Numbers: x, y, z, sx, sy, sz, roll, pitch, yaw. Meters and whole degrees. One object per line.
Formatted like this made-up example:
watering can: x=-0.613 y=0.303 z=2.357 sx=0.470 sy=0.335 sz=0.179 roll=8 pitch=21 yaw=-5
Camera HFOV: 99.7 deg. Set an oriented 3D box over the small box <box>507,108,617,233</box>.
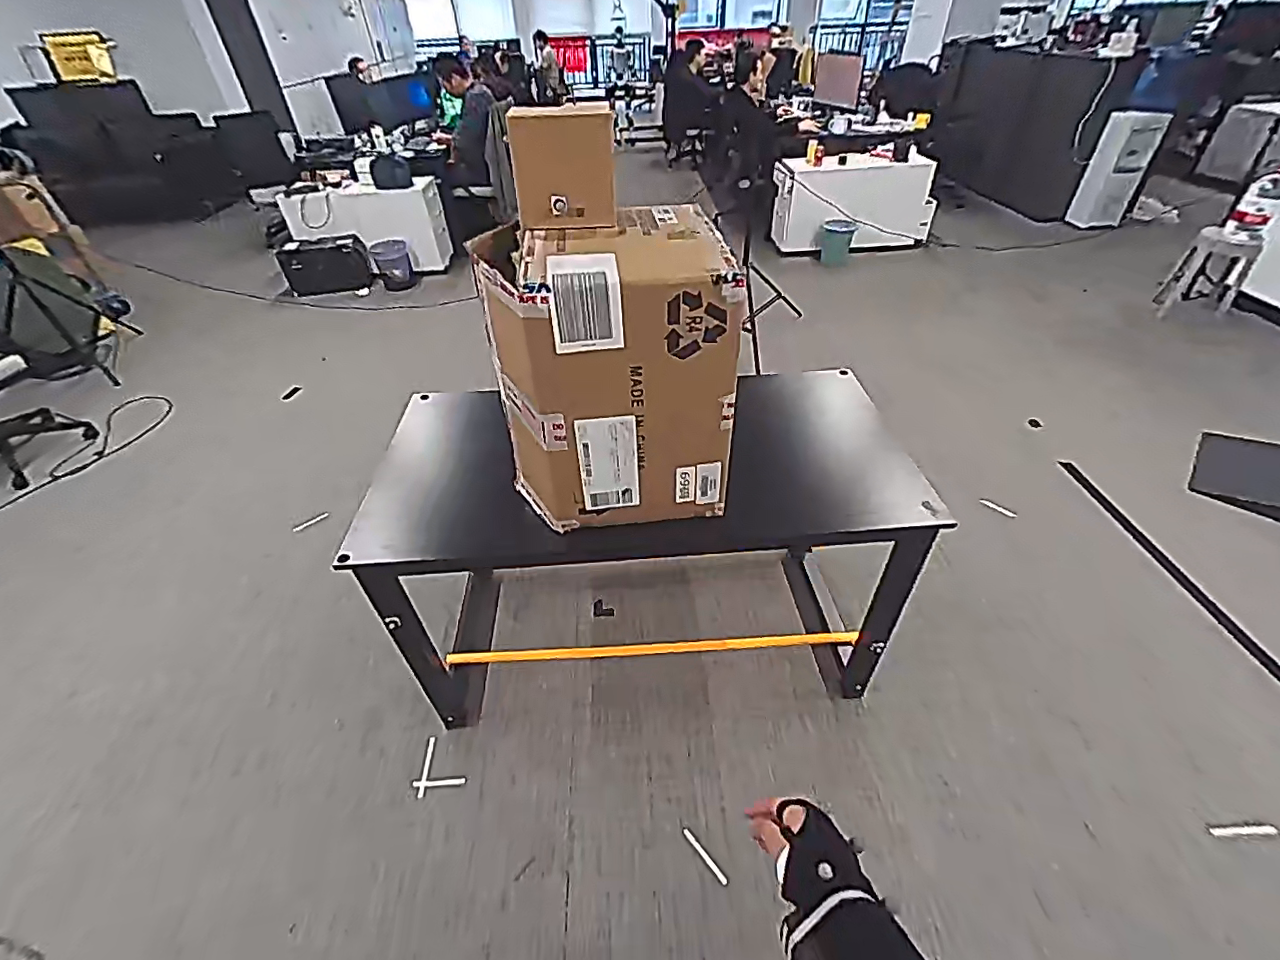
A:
small box: x=-0.133 y=-0.542 z=0.947 sx=0.168 sy=0.176 sz=0.179 roll=-7 pitch=39 yaw=-6
